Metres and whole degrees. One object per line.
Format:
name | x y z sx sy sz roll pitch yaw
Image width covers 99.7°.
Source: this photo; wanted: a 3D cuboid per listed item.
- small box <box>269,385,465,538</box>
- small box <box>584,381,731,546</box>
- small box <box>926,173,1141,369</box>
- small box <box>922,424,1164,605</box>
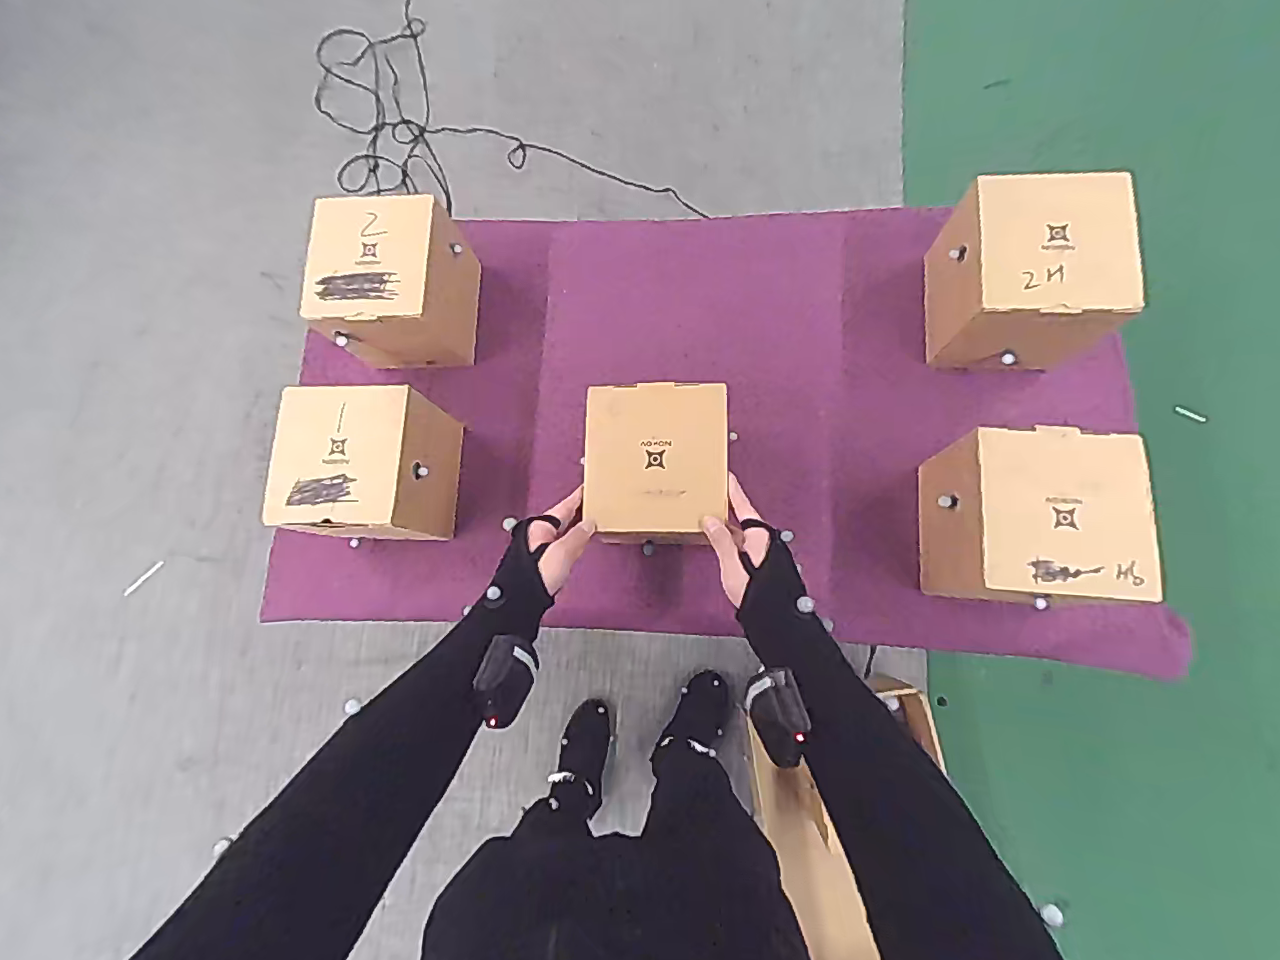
small box | -0.353 -0.016 0.732 0.168 0.176 0.179 0 77 5
small box | 0.029 -0.013 0.694 0.168 0.176 0.179 0 78 7
small box | 0.485 -0.259 0.696 0.168 0.176 0.179 3 80 9
small box | 0.448 0.048 0.635 0.168 0.176 0.179 3 76 8
